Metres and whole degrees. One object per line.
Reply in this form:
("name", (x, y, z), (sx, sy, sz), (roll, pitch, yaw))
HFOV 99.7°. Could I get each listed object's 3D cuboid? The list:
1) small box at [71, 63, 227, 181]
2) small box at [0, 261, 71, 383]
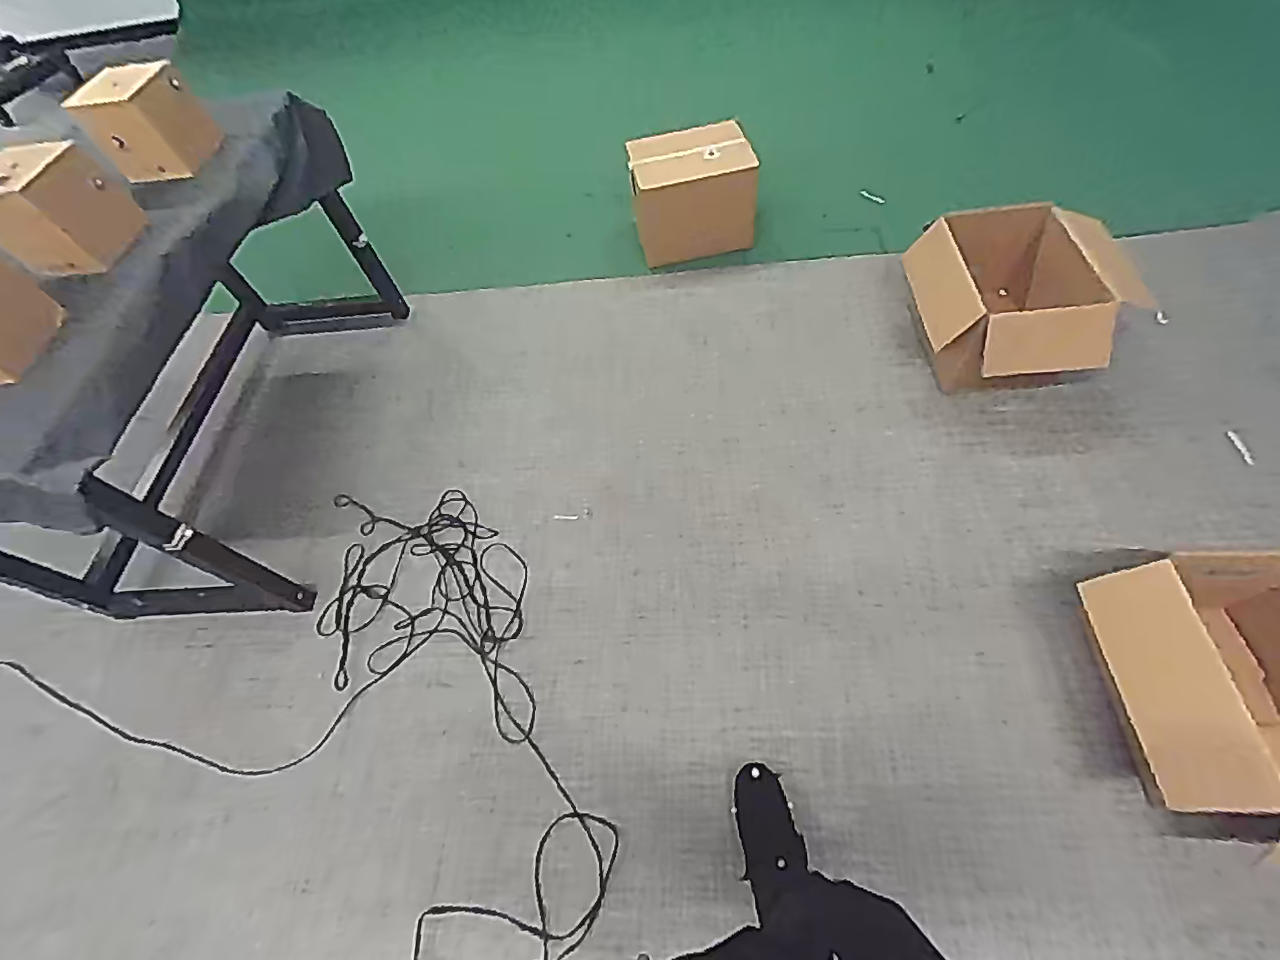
("small box", (-1.104, -0.808, 1.235), (0.168, 0.176, 0.179), (-1, 59, 7))
("small box", (-1.154, -0.277, 0.920), (0.168, 0.176, 0.179), (-3, 58, 4))
